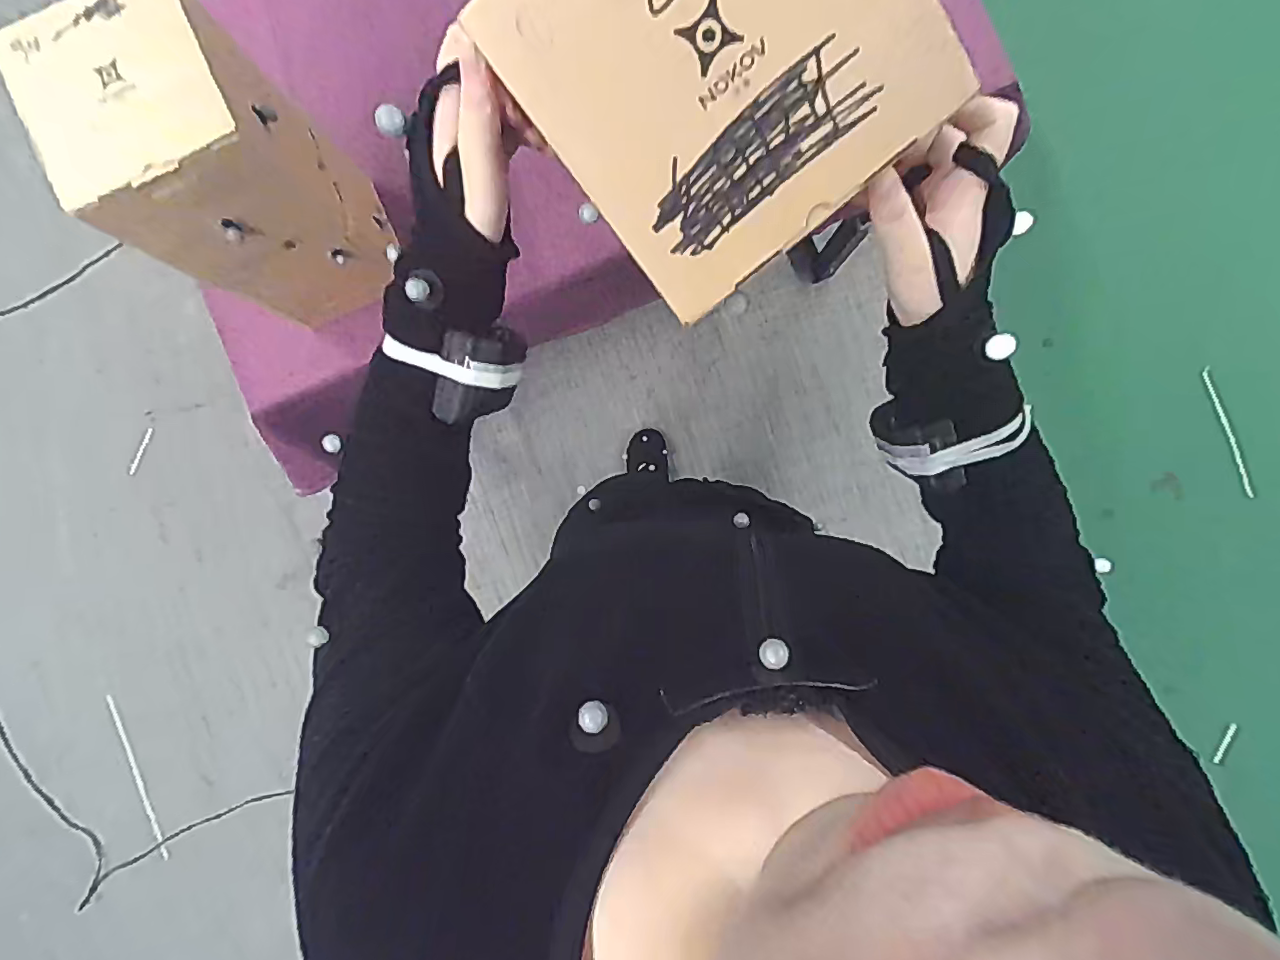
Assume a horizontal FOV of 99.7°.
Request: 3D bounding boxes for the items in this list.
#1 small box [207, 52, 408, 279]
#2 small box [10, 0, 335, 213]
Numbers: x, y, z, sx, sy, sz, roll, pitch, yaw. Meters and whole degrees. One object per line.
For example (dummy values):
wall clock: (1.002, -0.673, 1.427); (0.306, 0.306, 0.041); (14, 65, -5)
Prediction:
small box: (-0.445, -0.396, 0.713); (0.179, 0.176, 0.168); (-23, 87, -2)
small box: (-0.452, -0.405, 0.549); (0.168, 0.176, 0.179); (-23, 88, 0)
